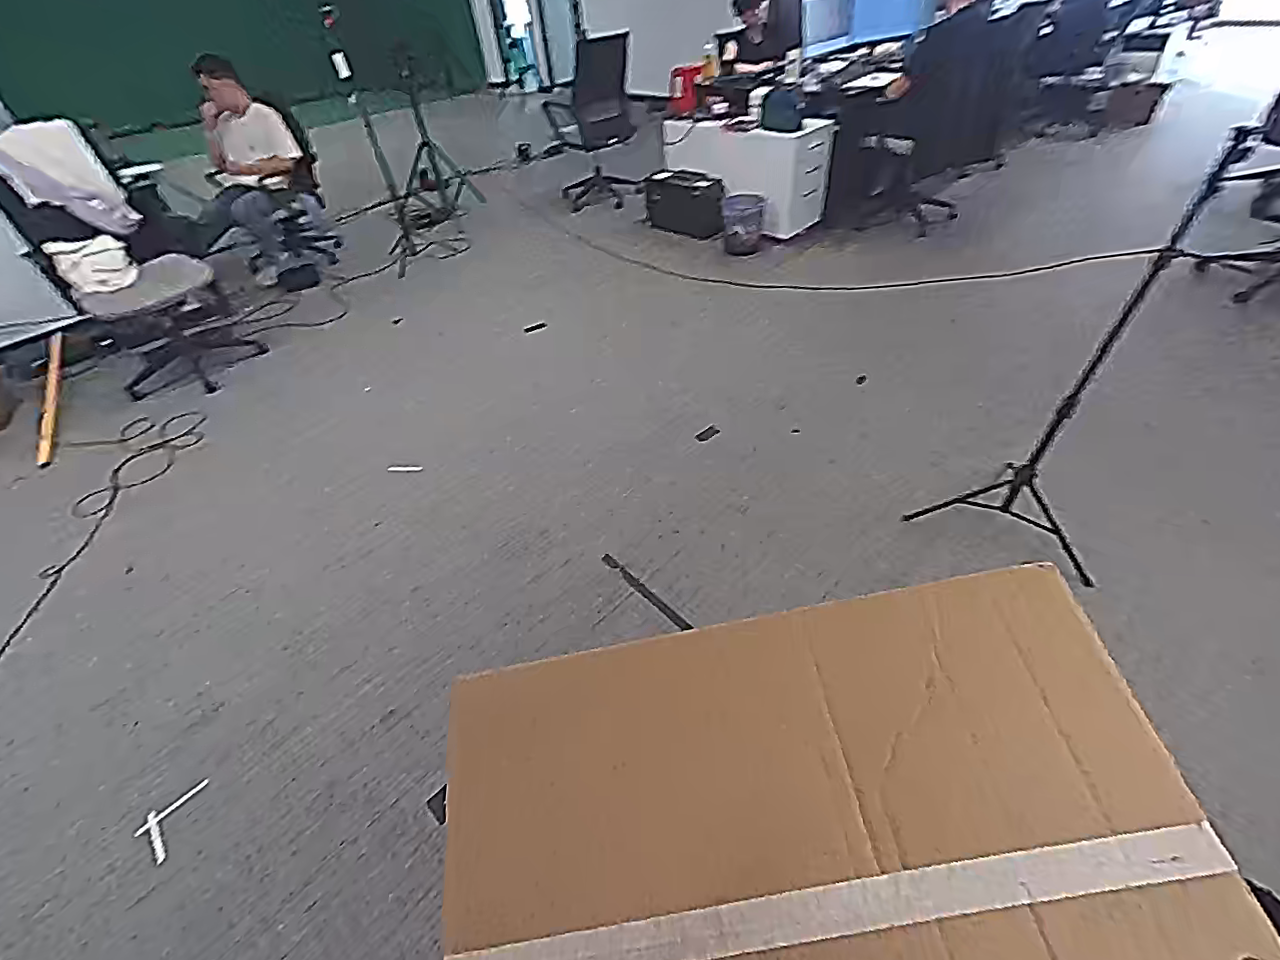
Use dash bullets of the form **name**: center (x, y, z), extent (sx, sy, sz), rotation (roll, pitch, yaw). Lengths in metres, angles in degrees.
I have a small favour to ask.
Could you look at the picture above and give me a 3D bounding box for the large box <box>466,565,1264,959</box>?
- **large box**: center (0.117, 0.301, 0.421), extent (0.408, 0.320, 0.320), rotation (-12, 61, 3)
